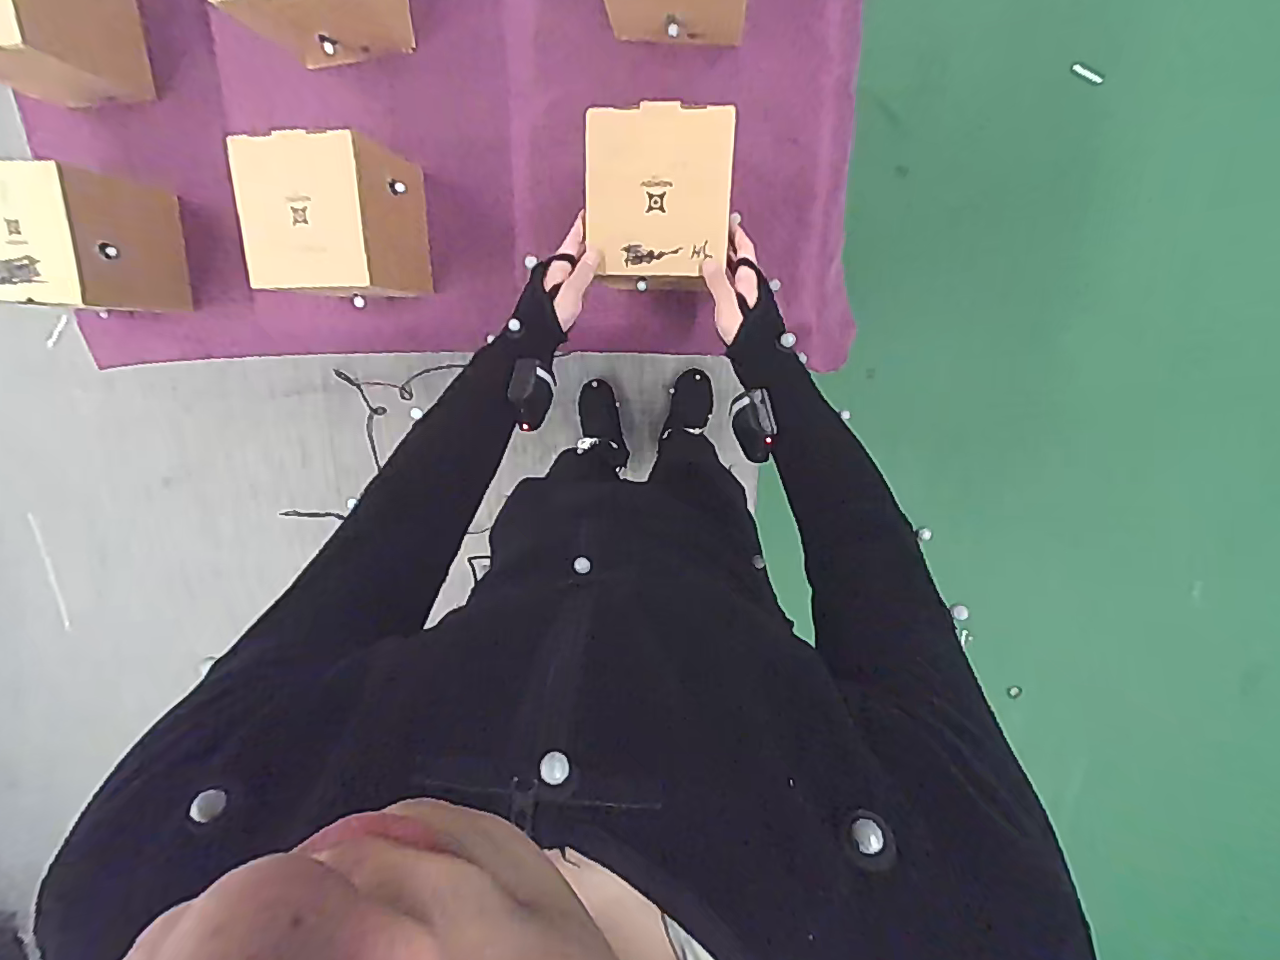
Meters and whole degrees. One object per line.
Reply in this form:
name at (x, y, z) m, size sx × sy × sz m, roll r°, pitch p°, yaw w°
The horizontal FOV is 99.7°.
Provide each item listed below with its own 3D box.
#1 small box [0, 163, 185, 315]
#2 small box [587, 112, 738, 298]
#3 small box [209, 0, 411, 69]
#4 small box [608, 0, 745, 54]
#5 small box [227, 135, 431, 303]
small box at (-0.802, -0.332, 0.773) m, size 0.168 × 0.176 × 0.179 m, roll 4°, pitch 104°, yaw 4°
small box at (0.031, -0.335, 0.688) m, size 0.168 × 0.176 × 0.179 m, roll 3°, pitch 104°, yaw 6°
small box at (-0.404, -0.641, 0.650) m, size 0.168 × 0.176 × 0.179 m, roll -3°, pitch 106°, yaw 6°
small box at (0.047, -0.625, 0.606) m, size 0.168 × 0.176 × 0.179 m, roll 7°, pitch 107°, yaw 5°
small box at (-0.404, -0.340, 0.733) m, size 0.168 × 0.176 × 0.179 m, roll 2°, pitch 105°, yaw 6°
